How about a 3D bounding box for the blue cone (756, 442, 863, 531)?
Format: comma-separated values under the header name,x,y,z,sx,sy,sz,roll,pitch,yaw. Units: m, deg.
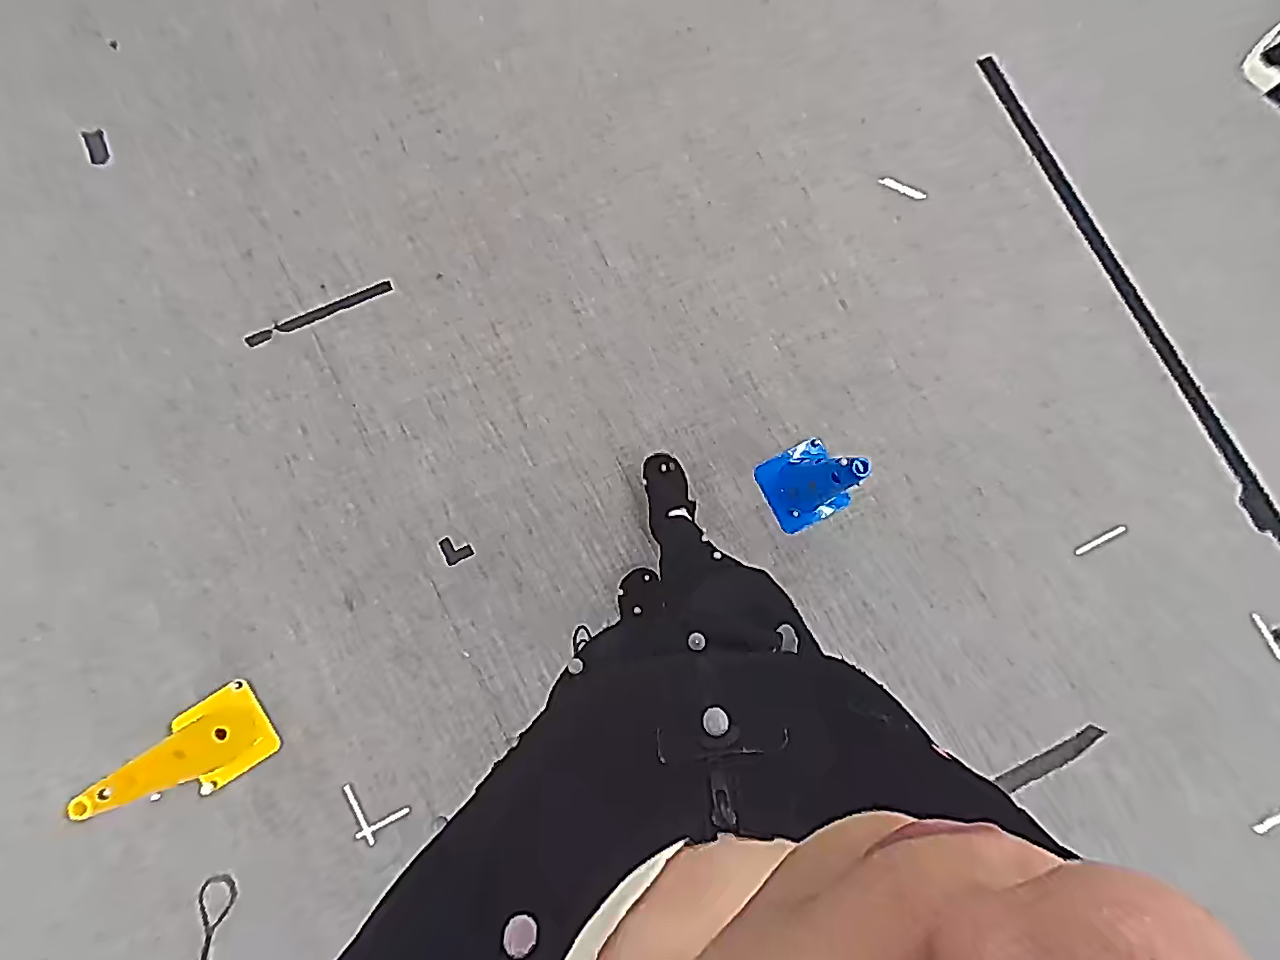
name,x,y,z,sx,sy,sz,roll,pitch,yaw
blue cone,0.418,-0.001,1.229,0.193,0.380,0.192,-25,84,-4
